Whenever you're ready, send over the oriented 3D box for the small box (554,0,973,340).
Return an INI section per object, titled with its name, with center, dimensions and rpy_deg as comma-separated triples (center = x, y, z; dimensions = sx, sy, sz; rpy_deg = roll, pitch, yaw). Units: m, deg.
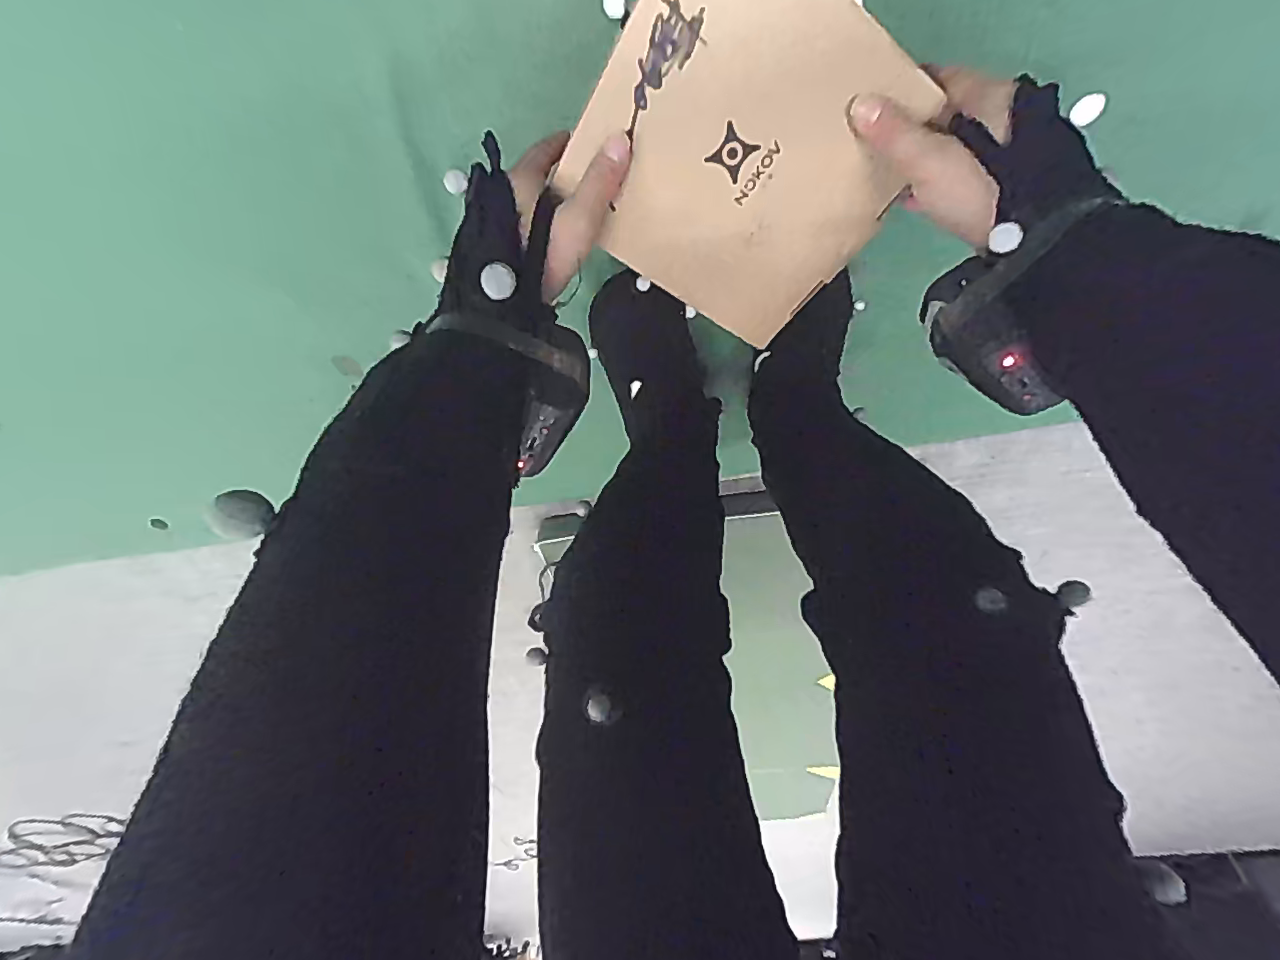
[small box]
center = 0.066, -0.235, 0.359
dimensions = 0.179, 0.176, 0.168
rpy_deg = 26, 128, -22
